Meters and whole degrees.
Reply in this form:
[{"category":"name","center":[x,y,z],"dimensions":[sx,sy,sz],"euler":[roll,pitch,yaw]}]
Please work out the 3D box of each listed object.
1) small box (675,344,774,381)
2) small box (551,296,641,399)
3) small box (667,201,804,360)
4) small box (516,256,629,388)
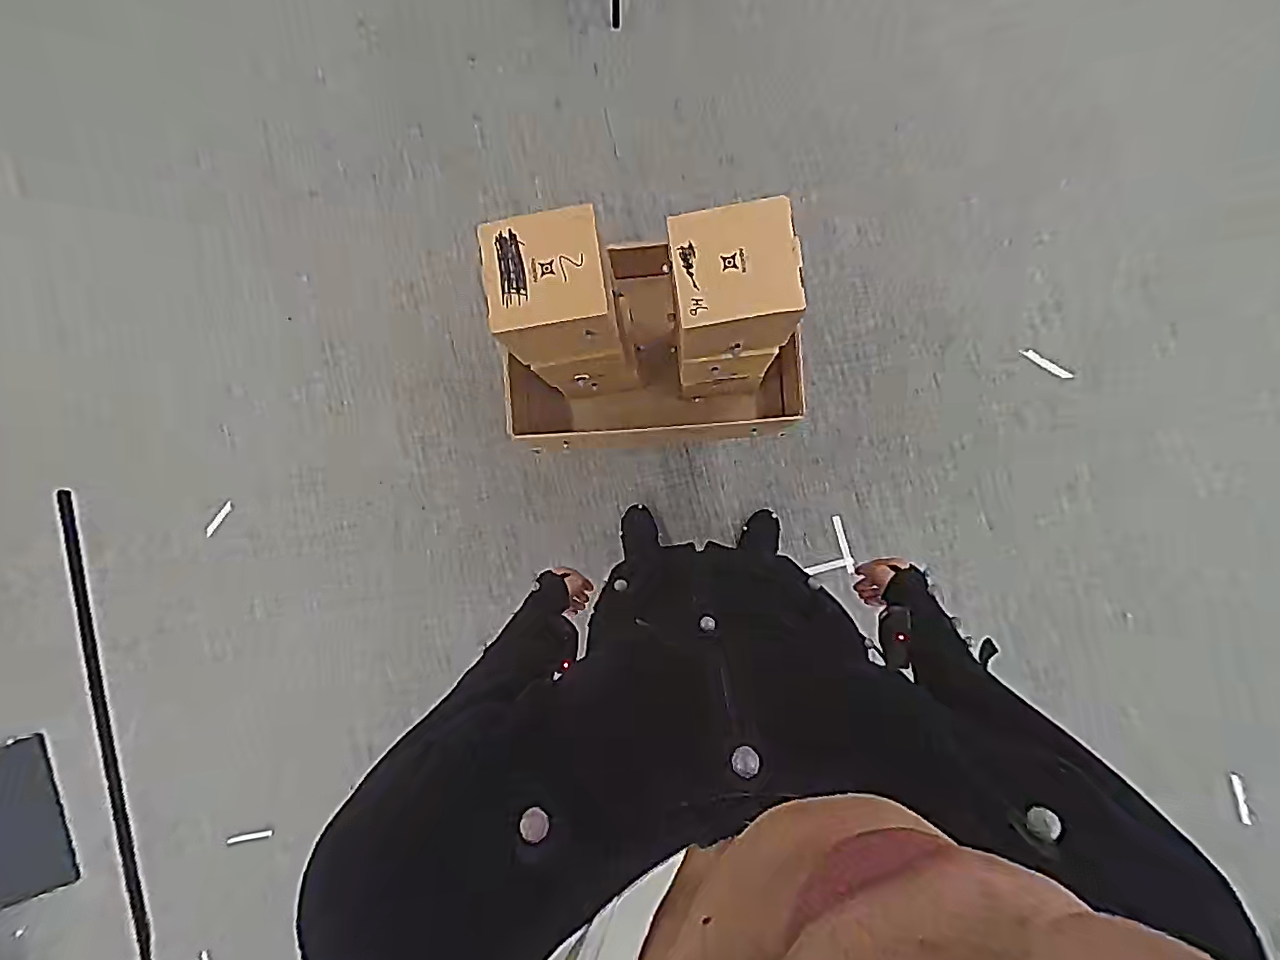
[{"category":"small box","center":[0.146,-0.286,0.997],"dimensions":[0.168,0.176,0.179],"euler":[-6,87,4]},{"category":"small box","center":[-0.098,-0.280,1.177],"dimensions":[0.179,0.176,0.168],"euler":[-7,88,3]},{"category":"small box","center":[0.136,-0.296,0.834],"dimensions":[0.179,0.176,0.168],"euler":[-8,86,3]},{"category":"small box","center":[-0.119,-0.286,1.014],"dimensions":[0.168,0.176,0.179],"euler":[-9,87,5]}]
